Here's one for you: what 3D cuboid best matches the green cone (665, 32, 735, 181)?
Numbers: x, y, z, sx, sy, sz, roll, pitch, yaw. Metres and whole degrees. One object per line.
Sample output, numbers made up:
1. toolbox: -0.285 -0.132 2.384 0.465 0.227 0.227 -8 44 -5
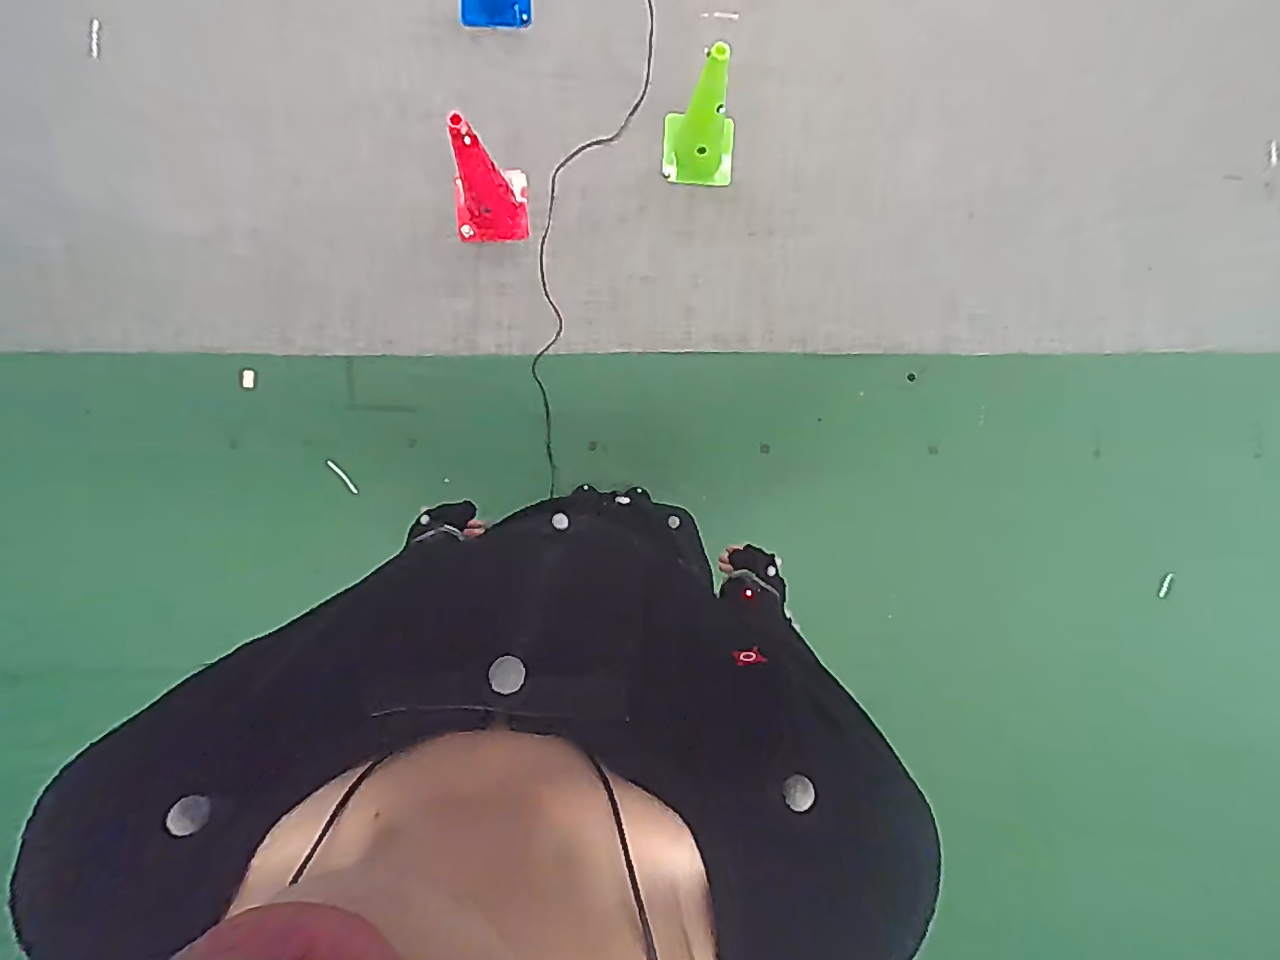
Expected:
1. green cone: 0.180 -0.964 1.377 0.200 0.368 0.202 2 88 -2
